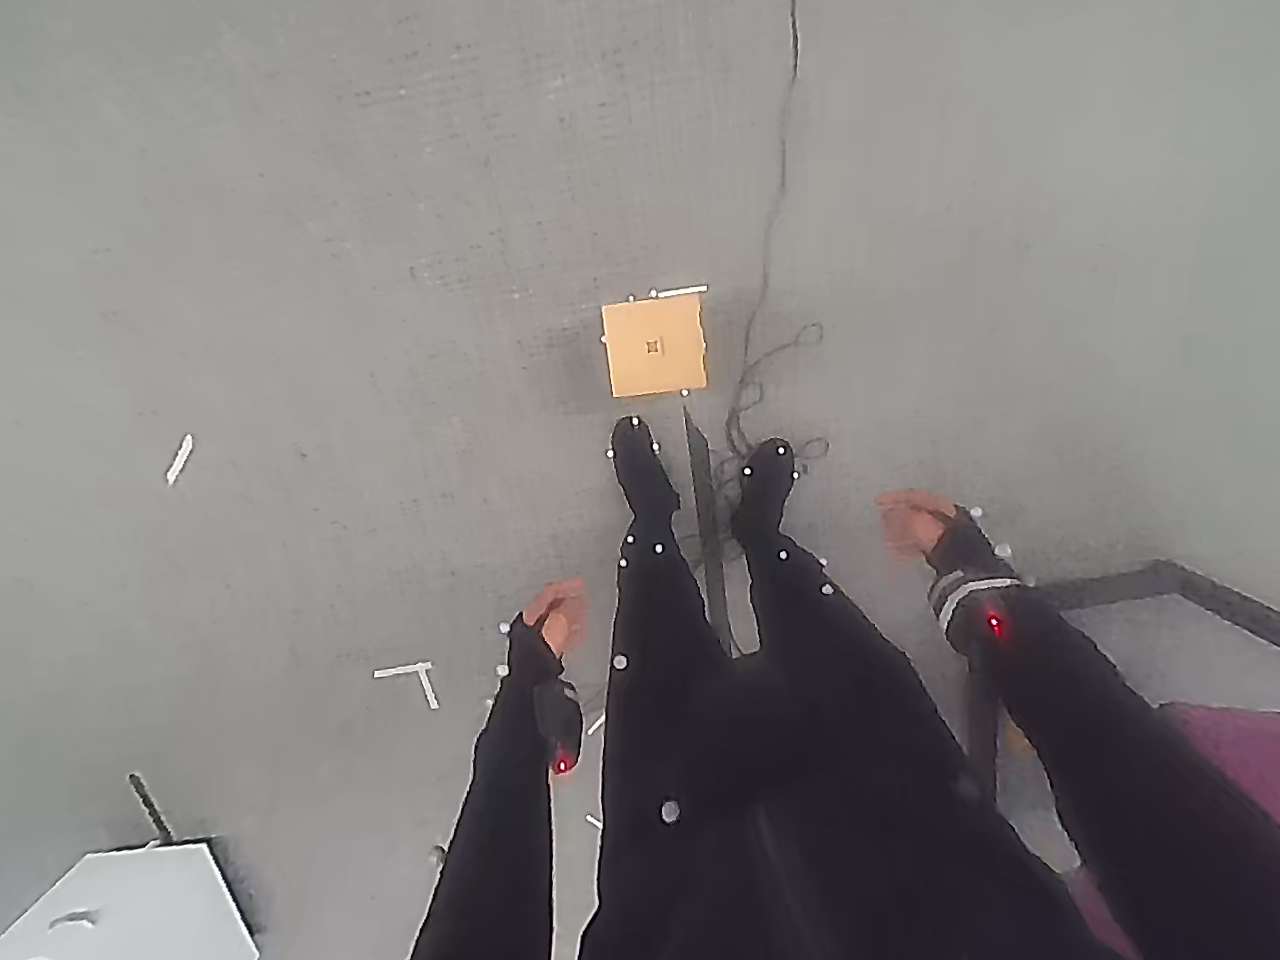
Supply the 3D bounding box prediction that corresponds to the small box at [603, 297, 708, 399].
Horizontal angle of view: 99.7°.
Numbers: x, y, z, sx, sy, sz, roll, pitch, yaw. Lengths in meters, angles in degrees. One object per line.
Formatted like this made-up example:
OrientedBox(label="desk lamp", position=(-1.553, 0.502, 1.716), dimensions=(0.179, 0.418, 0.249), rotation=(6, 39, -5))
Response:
OrientedBox(label="small box", position=(0.032, -0.255, 1.048), dimensions=(0.179, 0.176, 0.168), rotation=(-7, 106, 3))
